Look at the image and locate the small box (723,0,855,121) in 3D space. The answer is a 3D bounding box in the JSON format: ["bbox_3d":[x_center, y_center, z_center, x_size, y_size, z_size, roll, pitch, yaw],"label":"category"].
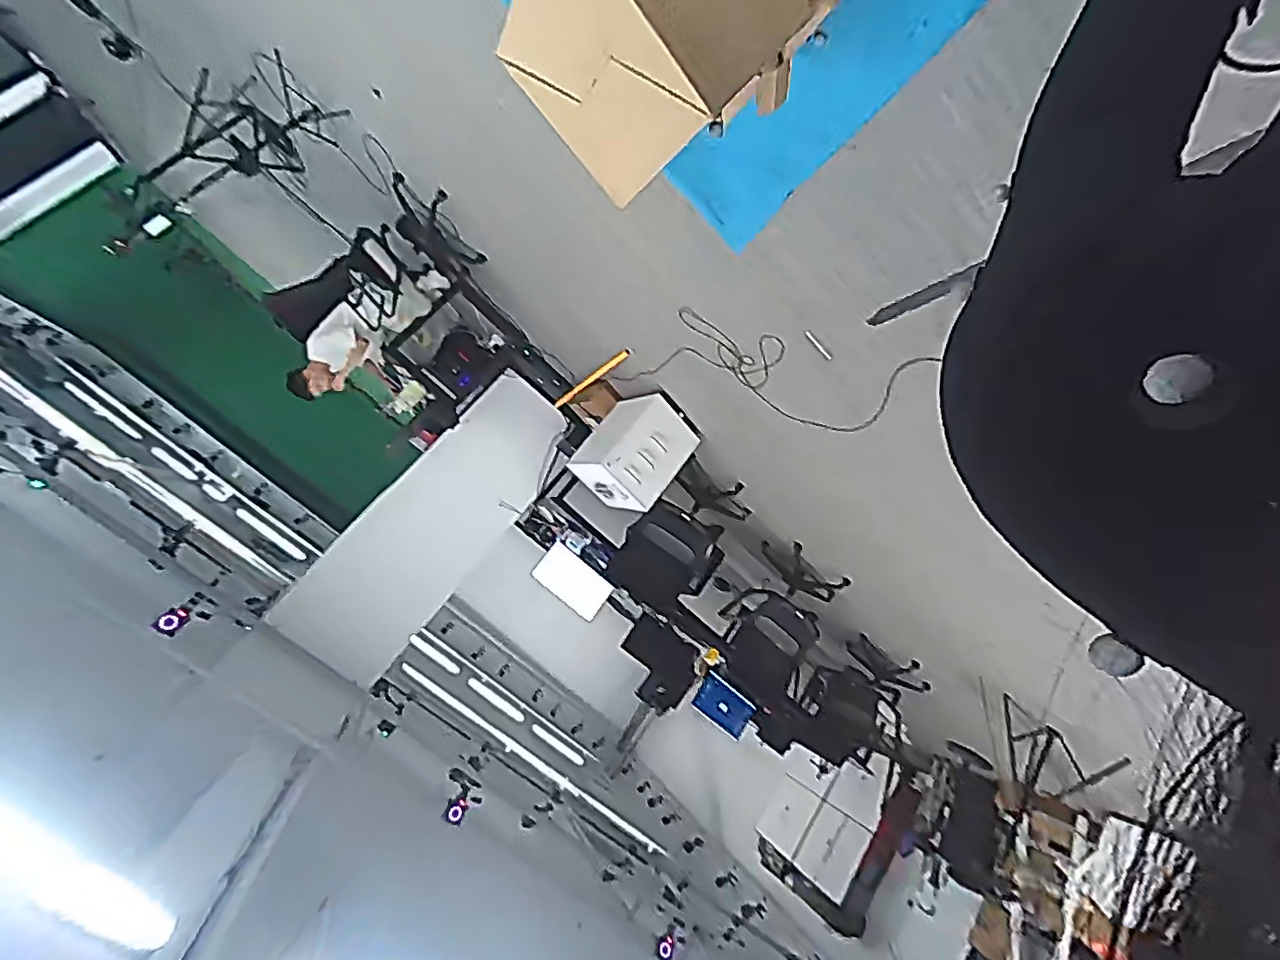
[{"bbox_3d":[0.119,-0.513,0.537,0.179,0.176,0.168,44,161,-17],"label":"small box"}]

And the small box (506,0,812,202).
[{"bbox_3d":[0.011,-0.397,0.490,0.179,0.176,0.168,44,161,-21],"label":"small box"}]
